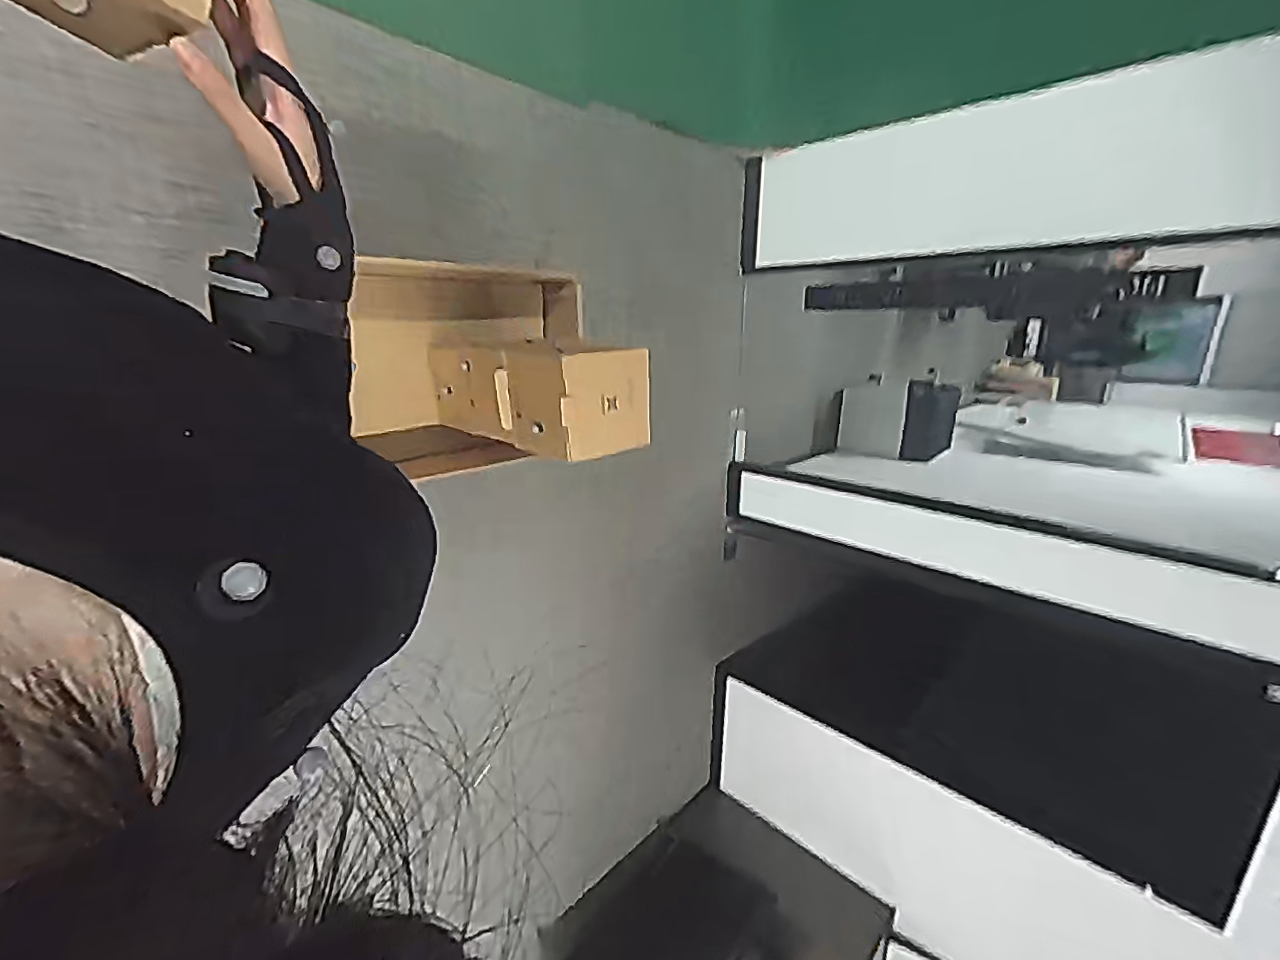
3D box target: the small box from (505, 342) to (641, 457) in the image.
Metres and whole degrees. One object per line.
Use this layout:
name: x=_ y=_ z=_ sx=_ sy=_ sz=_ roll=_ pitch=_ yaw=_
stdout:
small box: x=-0.117 y=-0.146 z=0.921 sx=0.179 sy=0.176 sz=0.168 roll=-16 pitch=114 yaw=-41

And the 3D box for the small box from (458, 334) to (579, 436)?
small box: x=-0.230 y=-0.188 z=1.031 sx=0.179 sy=0.176 sz=0.168 roll=-20 pitch=116 yaw=-40

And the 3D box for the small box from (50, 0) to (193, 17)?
small box: x=-0.321 y=-0.360 z=0.246 sx=0.179 sy=0.176 sz=0.168 roll=6 pitch=103 yaw=-57
